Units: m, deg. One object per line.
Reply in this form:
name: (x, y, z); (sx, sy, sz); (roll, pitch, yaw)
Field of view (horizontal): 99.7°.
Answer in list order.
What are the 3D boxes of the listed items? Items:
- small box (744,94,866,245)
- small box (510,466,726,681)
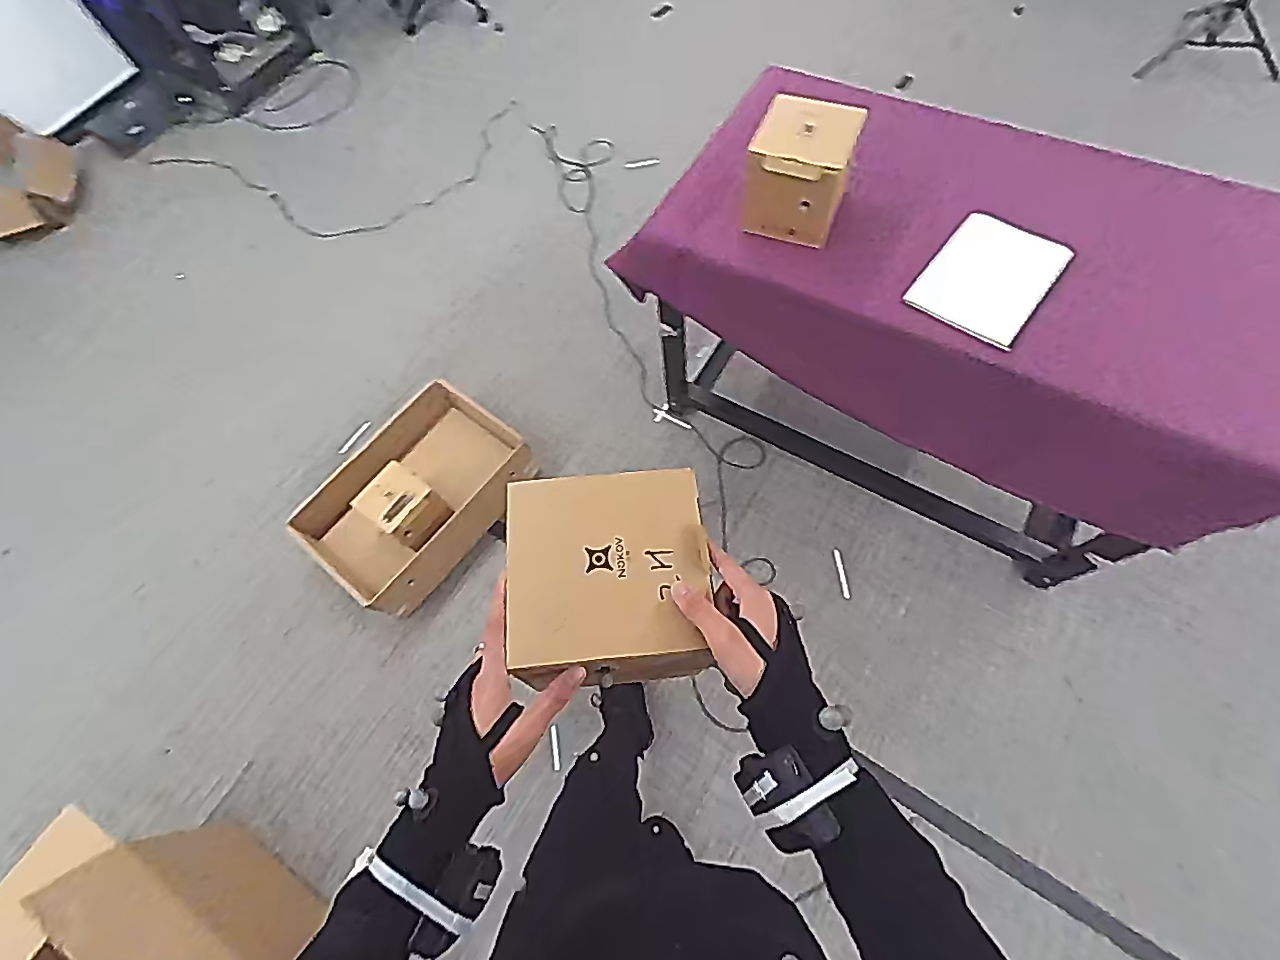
small box: (0.304, -0.582, 1.026); (0.168, 0.176, 0.179); (21, 69, 14)
small box: (-0.023, 0.100, 0.536); (0.179, 0.176, 0.168); (-4, 64, -3)
